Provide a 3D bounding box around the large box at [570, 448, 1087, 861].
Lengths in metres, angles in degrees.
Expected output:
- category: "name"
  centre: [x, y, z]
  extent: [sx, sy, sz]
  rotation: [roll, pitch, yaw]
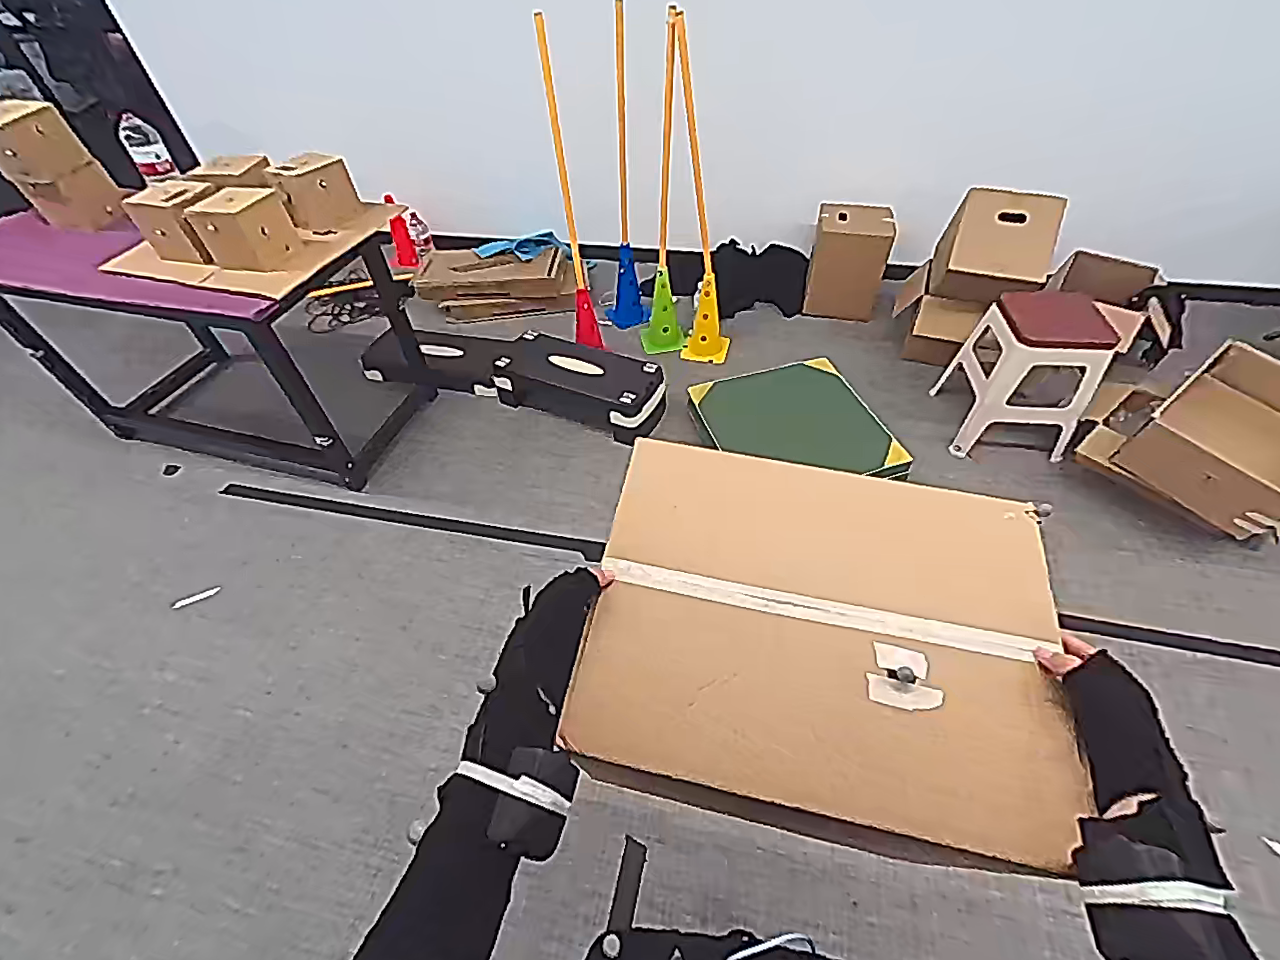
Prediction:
- category: "large box"
  centre: [0.163, 0.201, 0.619]
  extent: [0.408, 0.320, 0.320]
  rotation: [10, 59, 7]
